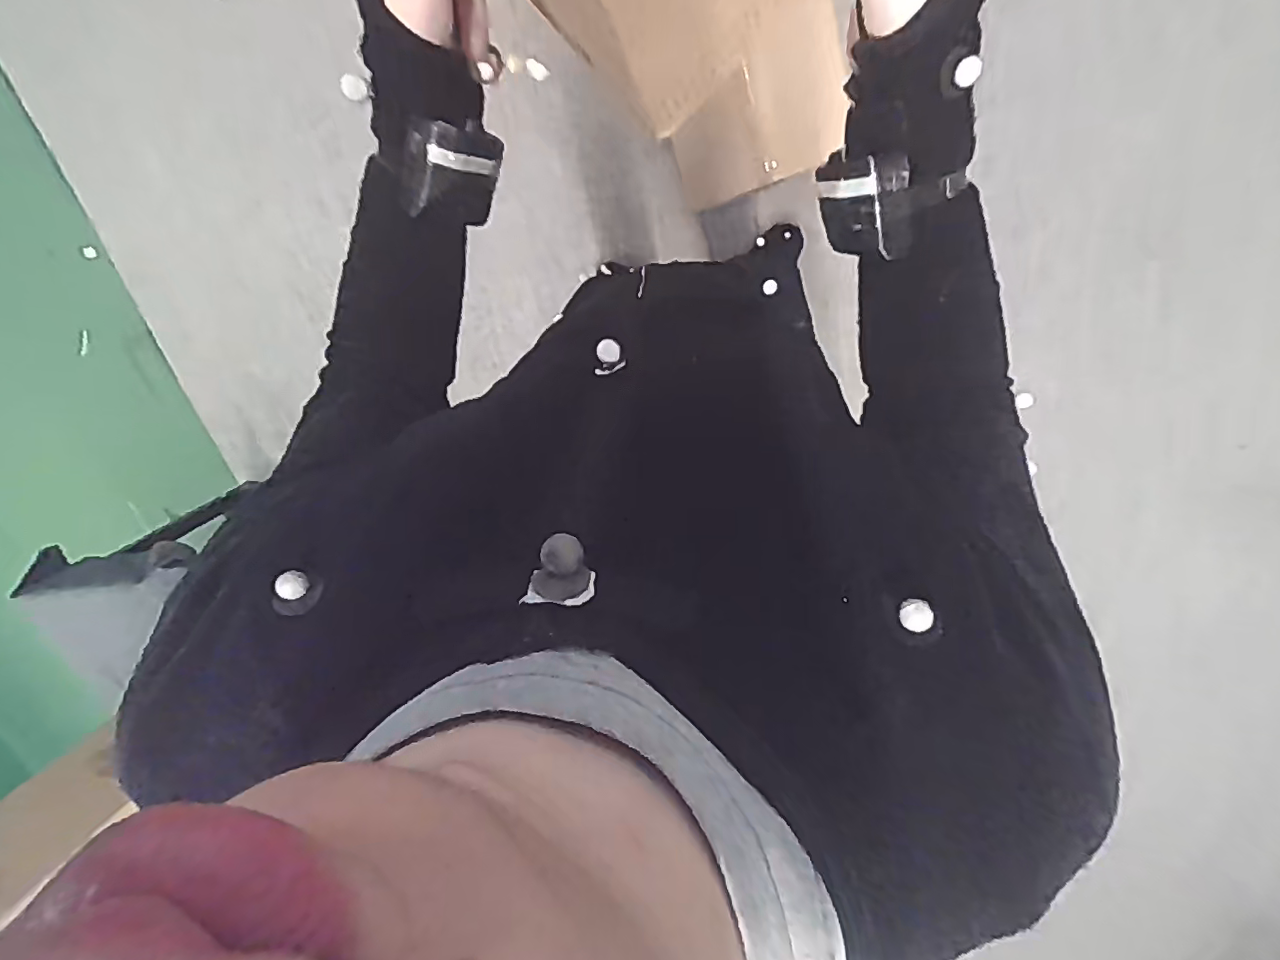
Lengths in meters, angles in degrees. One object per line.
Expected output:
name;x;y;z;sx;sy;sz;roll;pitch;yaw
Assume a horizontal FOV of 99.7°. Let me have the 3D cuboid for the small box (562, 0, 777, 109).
small box;0.007;-0.310;0.219;0.179;0.176;0.168;-41;85;13
